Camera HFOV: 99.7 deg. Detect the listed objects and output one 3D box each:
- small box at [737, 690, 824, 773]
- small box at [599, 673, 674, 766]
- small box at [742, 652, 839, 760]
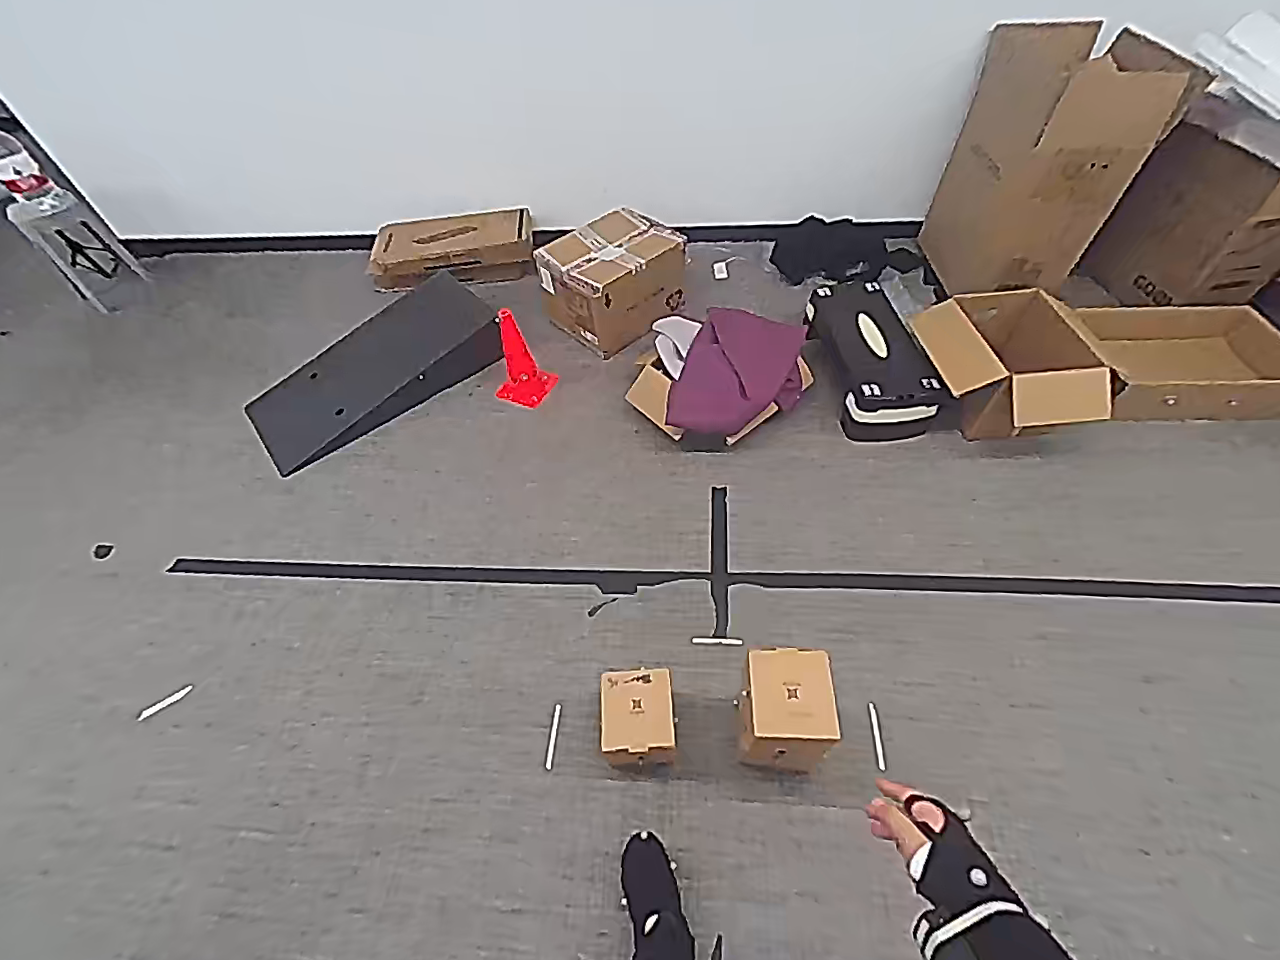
[{"bbox_3d":[0.324,0.583,1.279,0.179,0.176,0.168,4,53,6],"label":"small box"},{"bbox_3d":[-0.005,0.581,1.302,0.168,0.176,0.179,-4,53,1],"label":"small box"},{"bbox_3d":[0.310,0.483,1.152,0.168,0.176,0.179,-1,54,5],"label":"small box"}]
